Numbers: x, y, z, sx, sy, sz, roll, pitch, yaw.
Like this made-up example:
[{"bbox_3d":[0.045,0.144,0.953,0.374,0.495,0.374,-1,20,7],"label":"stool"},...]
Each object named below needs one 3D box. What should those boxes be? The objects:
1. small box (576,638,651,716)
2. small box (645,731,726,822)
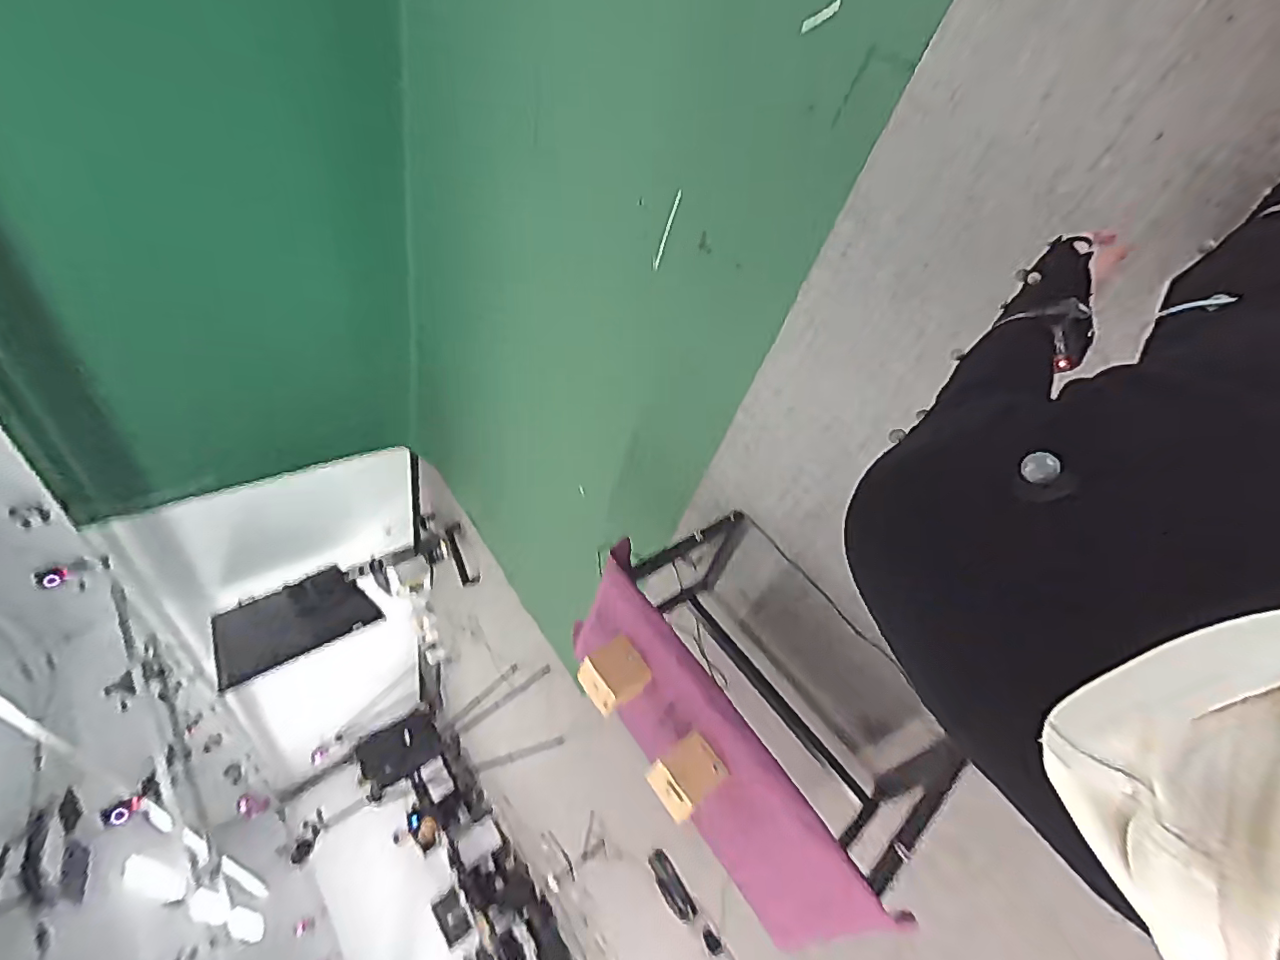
[{"bbox_3d":[-0.093,0.676,1.883,0.179,0.176,0.168,48,139,25],"label":"small box"},{"bbox_3d":[0.147,0.935,1.716,0.168,0.176,0.179,47,140,26],"label":"small box"}]
